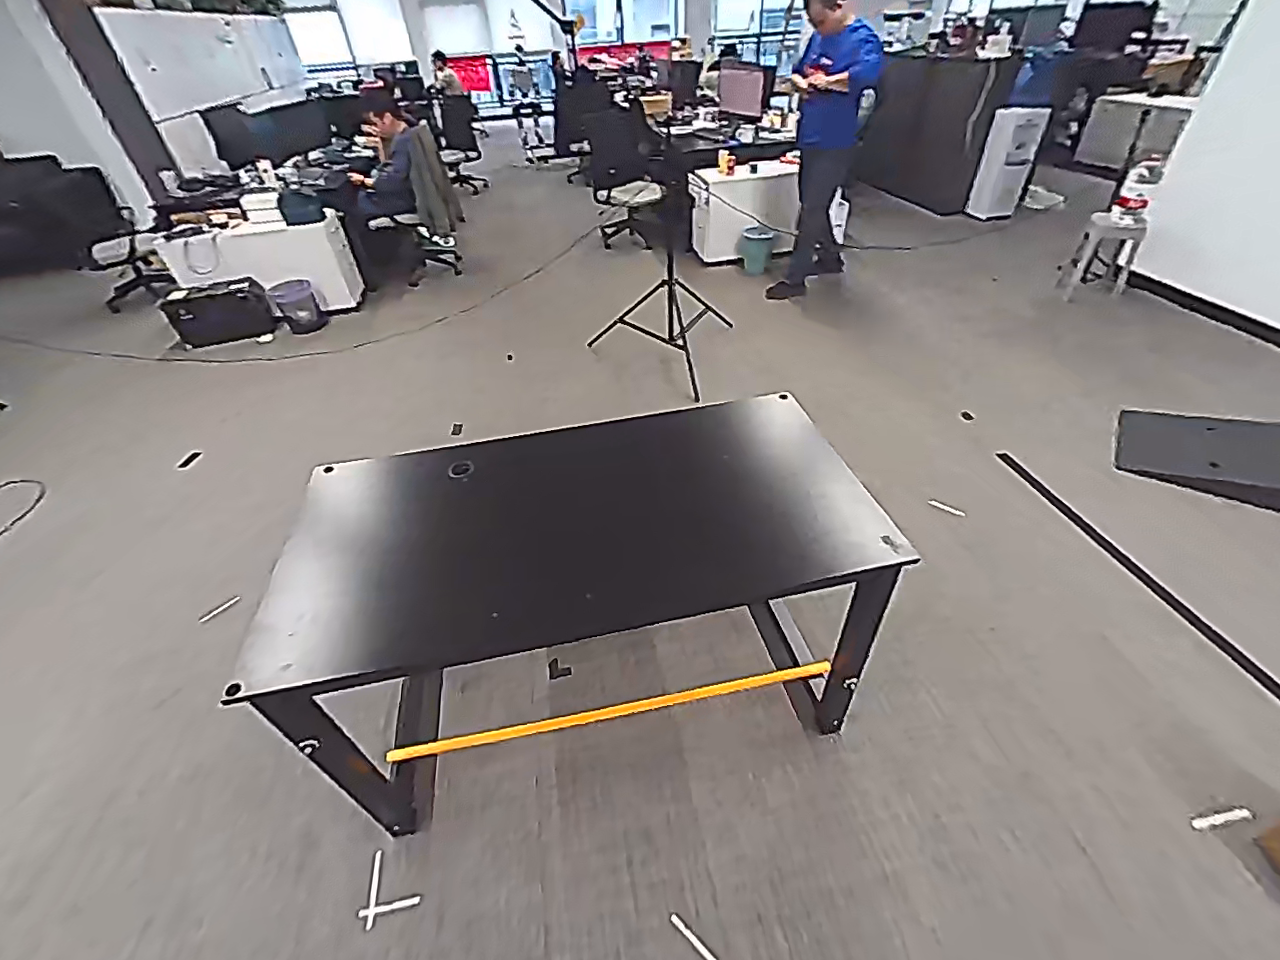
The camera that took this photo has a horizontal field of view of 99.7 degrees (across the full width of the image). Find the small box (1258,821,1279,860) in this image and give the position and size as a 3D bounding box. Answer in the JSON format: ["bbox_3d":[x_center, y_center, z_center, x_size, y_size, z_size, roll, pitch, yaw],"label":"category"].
[{"bbox_3d":[1.499,0.792,1.133,0.168,0.176,0.179,-11,40,-8],"label":"small box"}]
